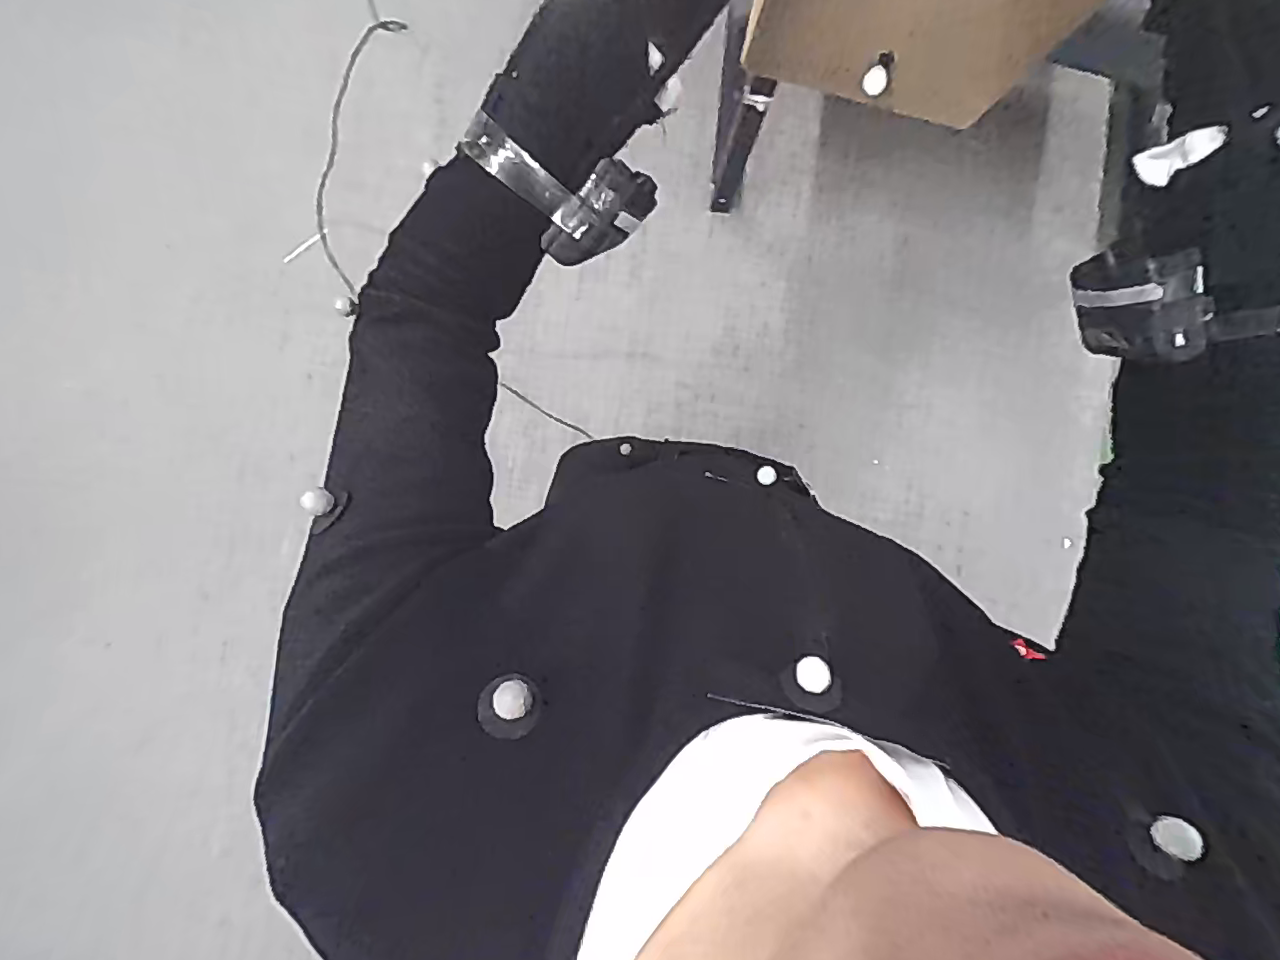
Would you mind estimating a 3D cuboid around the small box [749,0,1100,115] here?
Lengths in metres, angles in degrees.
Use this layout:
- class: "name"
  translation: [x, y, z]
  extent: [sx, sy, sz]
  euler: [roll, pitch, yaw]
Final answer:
- class: "small box"
  translation: [0.183, -0.354, 0.313]
  extent: [0.179, 0.176, 0.168]
  euler: [13, 93, -4]
